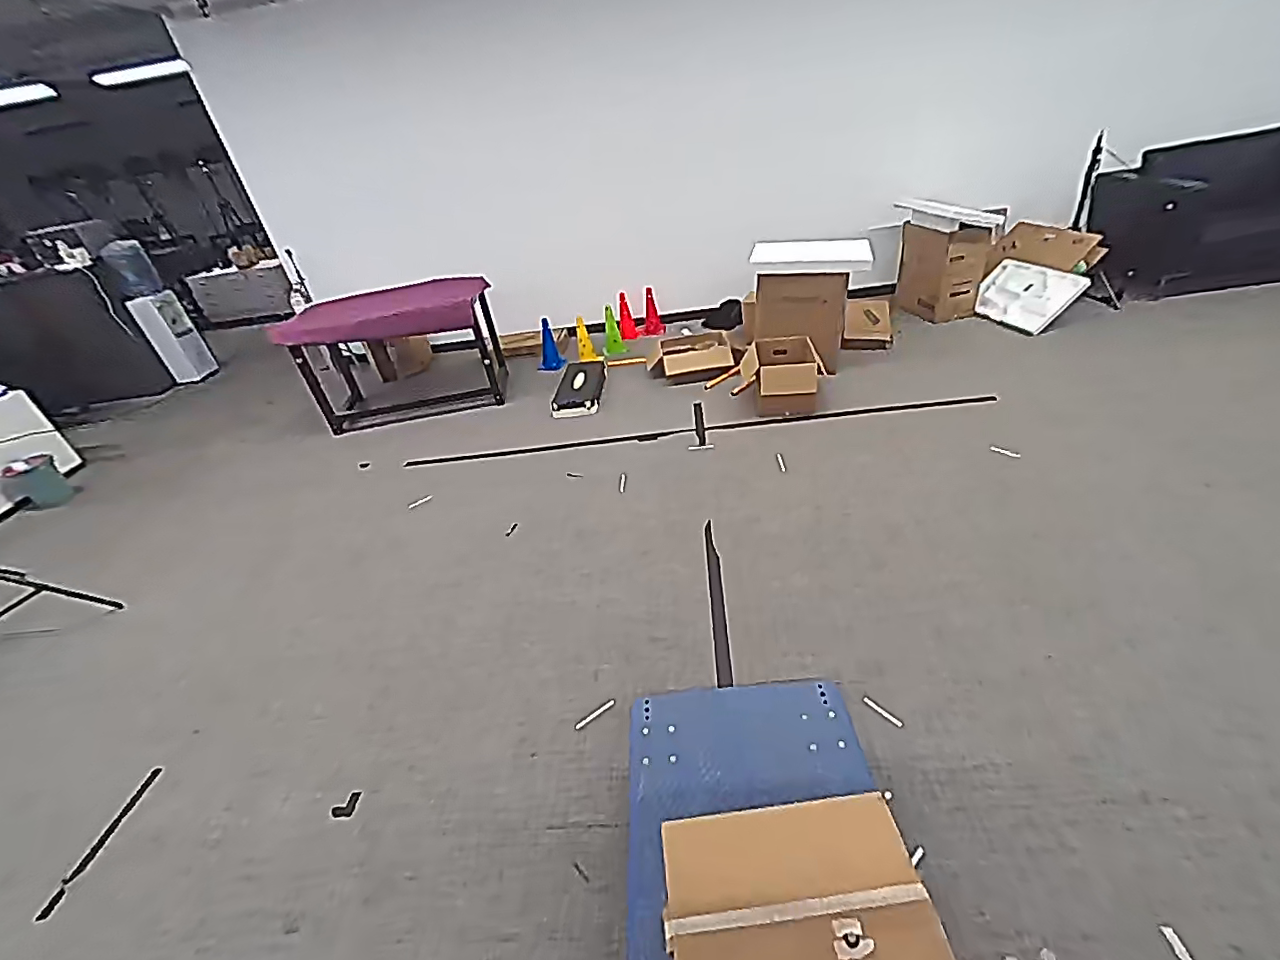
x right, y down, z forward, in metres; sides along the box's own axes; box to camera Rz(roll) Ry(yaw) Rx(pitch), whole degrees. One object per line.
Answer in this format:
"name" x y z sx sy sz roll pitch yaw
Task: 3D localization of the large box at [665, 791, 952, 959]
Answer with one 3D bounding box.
"large box" 0.270 0.804 0.940 0.408 0.320 0.320 -8 34 0
